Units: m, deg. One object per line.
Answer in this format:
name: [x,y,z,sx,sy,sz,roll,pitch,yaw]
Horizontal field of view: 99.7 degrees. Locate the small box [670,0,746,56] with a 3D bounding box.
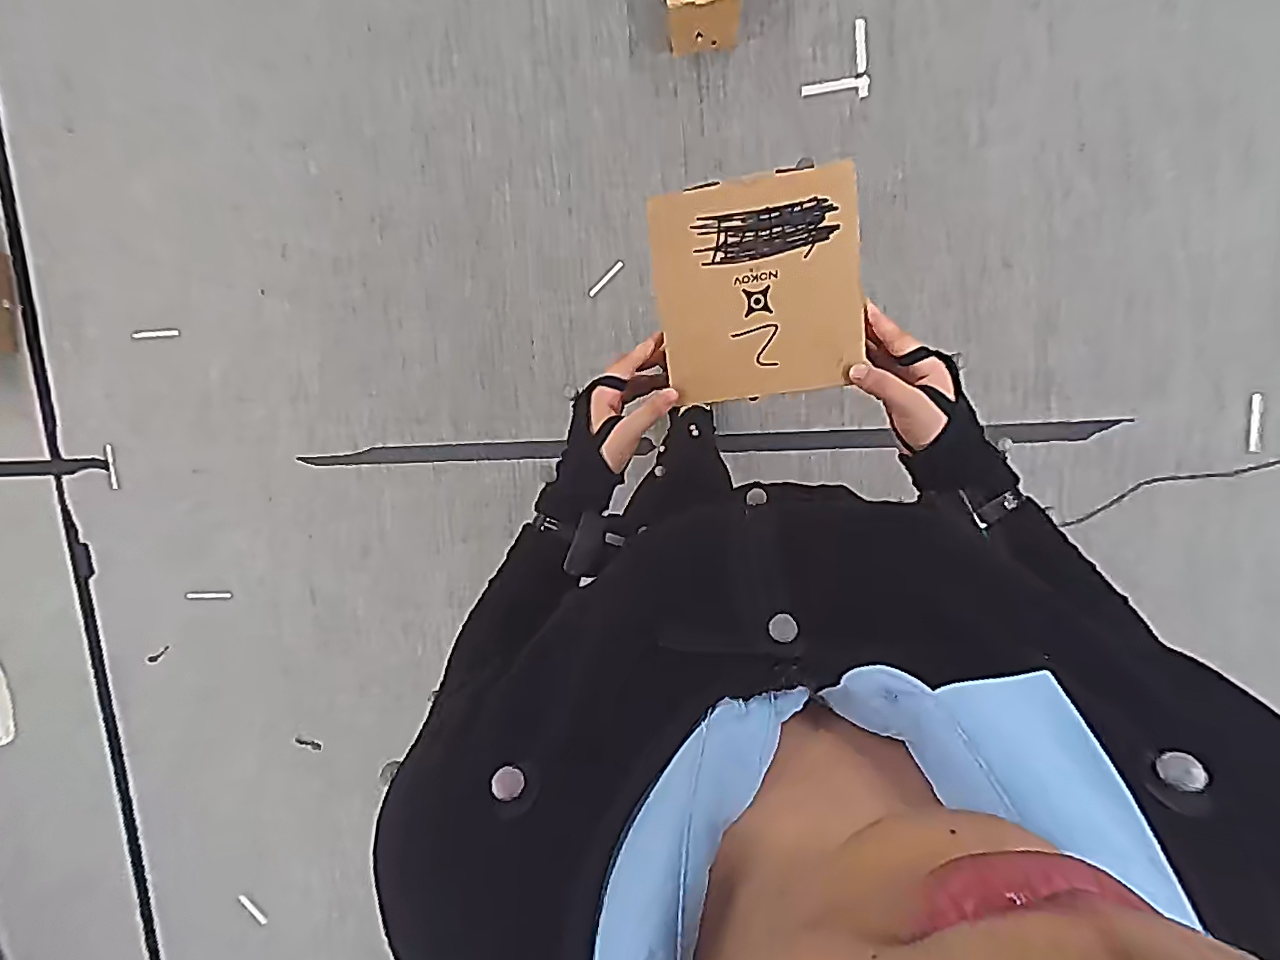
small box: [0.151,-1.137,1.250,0.168,0.176,0.179,-5,97,7]

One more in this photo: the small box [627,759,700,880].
small box: [0.060,0.803,1.292,0.168,0.176,0.179,0,96,6]
